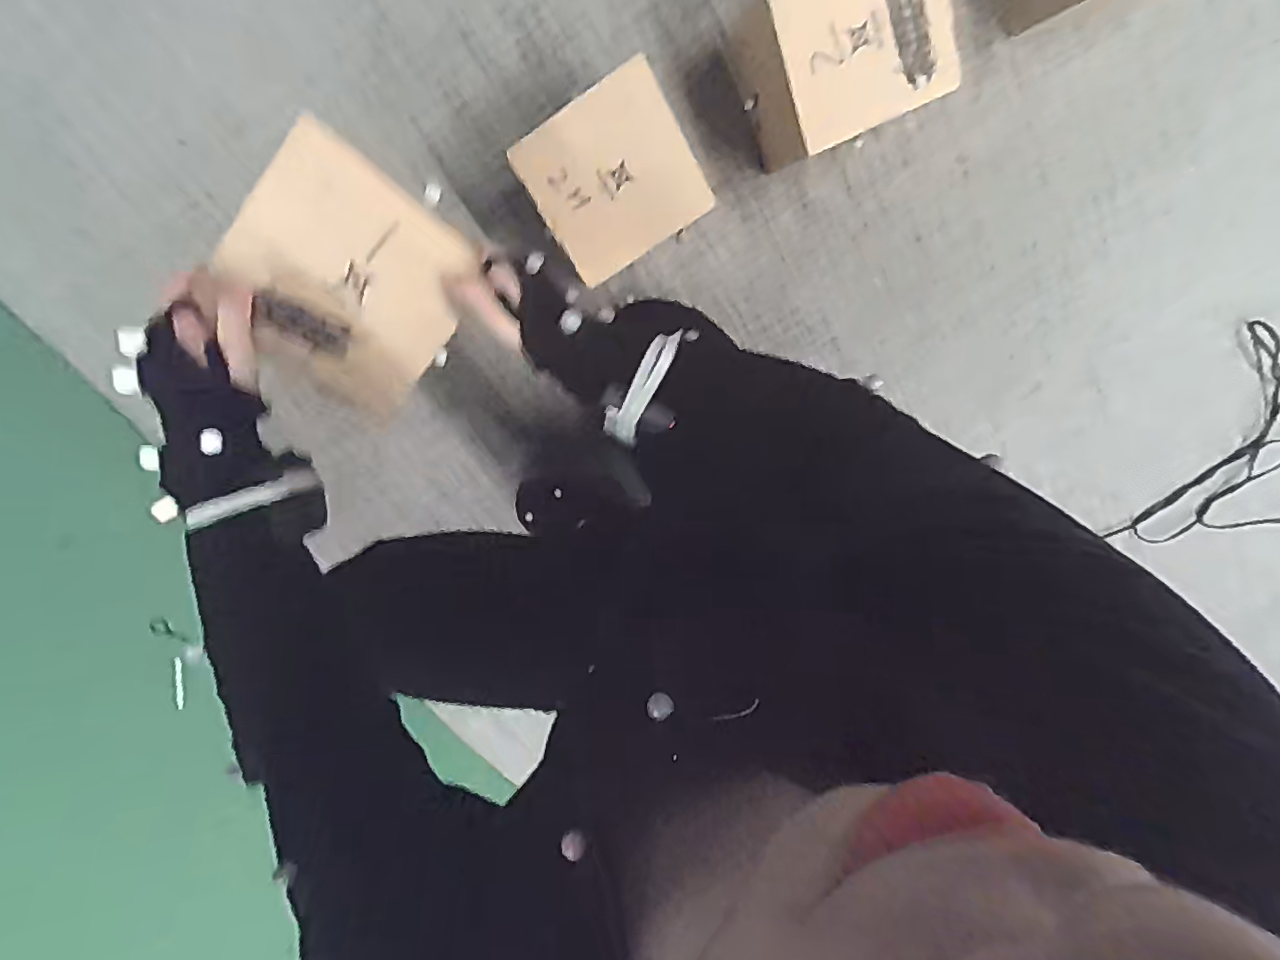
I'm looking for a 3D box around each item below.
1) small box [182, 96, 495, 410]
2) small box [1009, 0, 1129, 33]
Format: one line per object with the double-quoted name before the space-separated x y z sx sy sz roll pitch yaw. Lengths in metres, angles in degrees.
"small box" -0.254 -0.201 0.496 0.168 0.176 0.179 36 102 -32
"small box" 0.538 -0.632 0.588 0.179 0.176 0.168 -16 114 2
